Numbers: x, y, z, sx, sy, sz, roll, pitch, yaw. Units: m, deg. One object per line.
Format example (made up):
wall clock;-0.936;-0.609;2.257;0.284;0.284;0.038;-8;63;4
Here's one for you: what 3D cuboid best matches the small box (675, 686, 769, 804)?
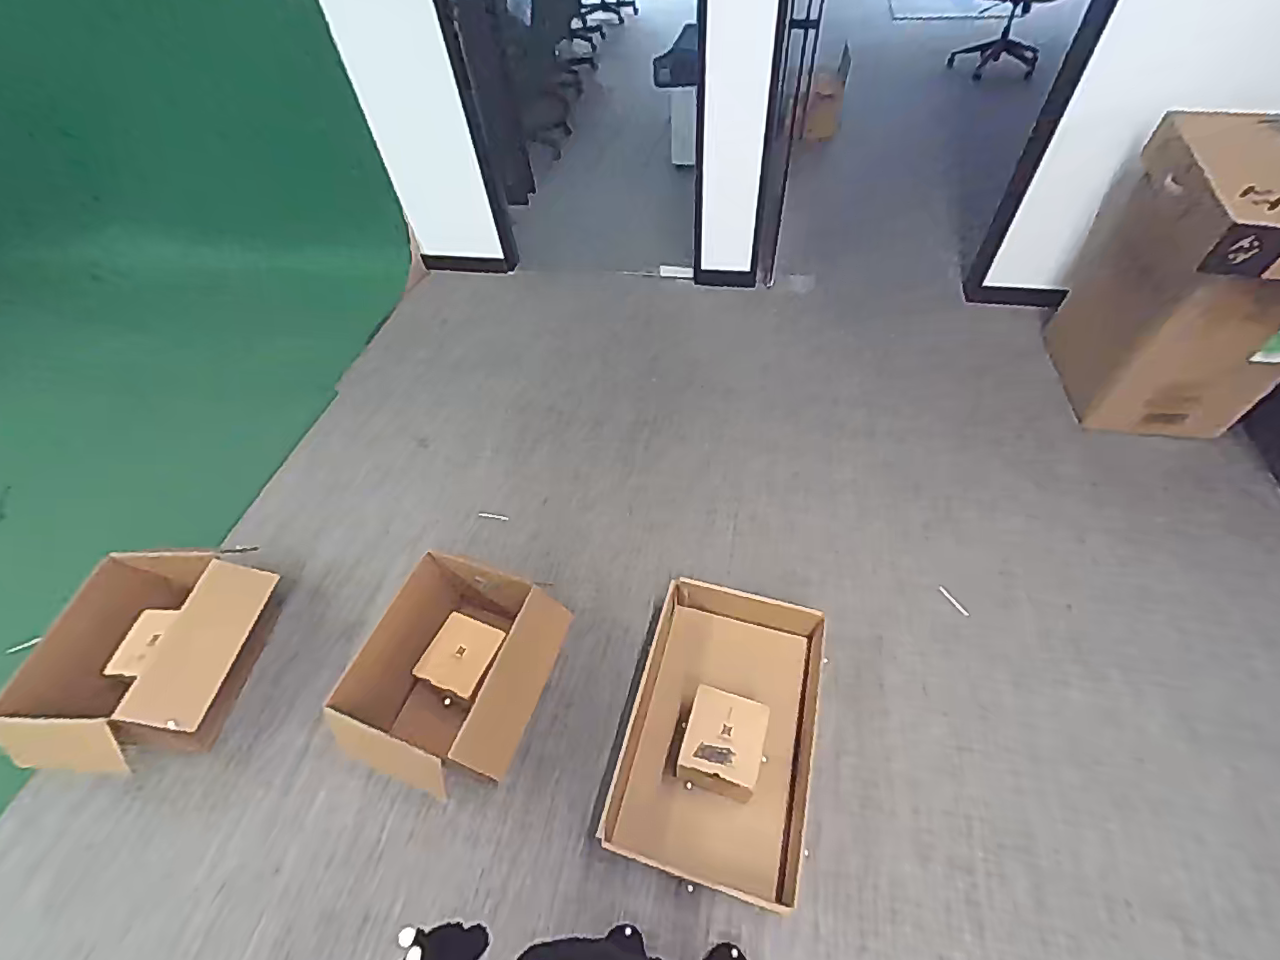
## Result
small box;0.182;0.597;1.210;0.168;0.176;0.179;14;52;14
